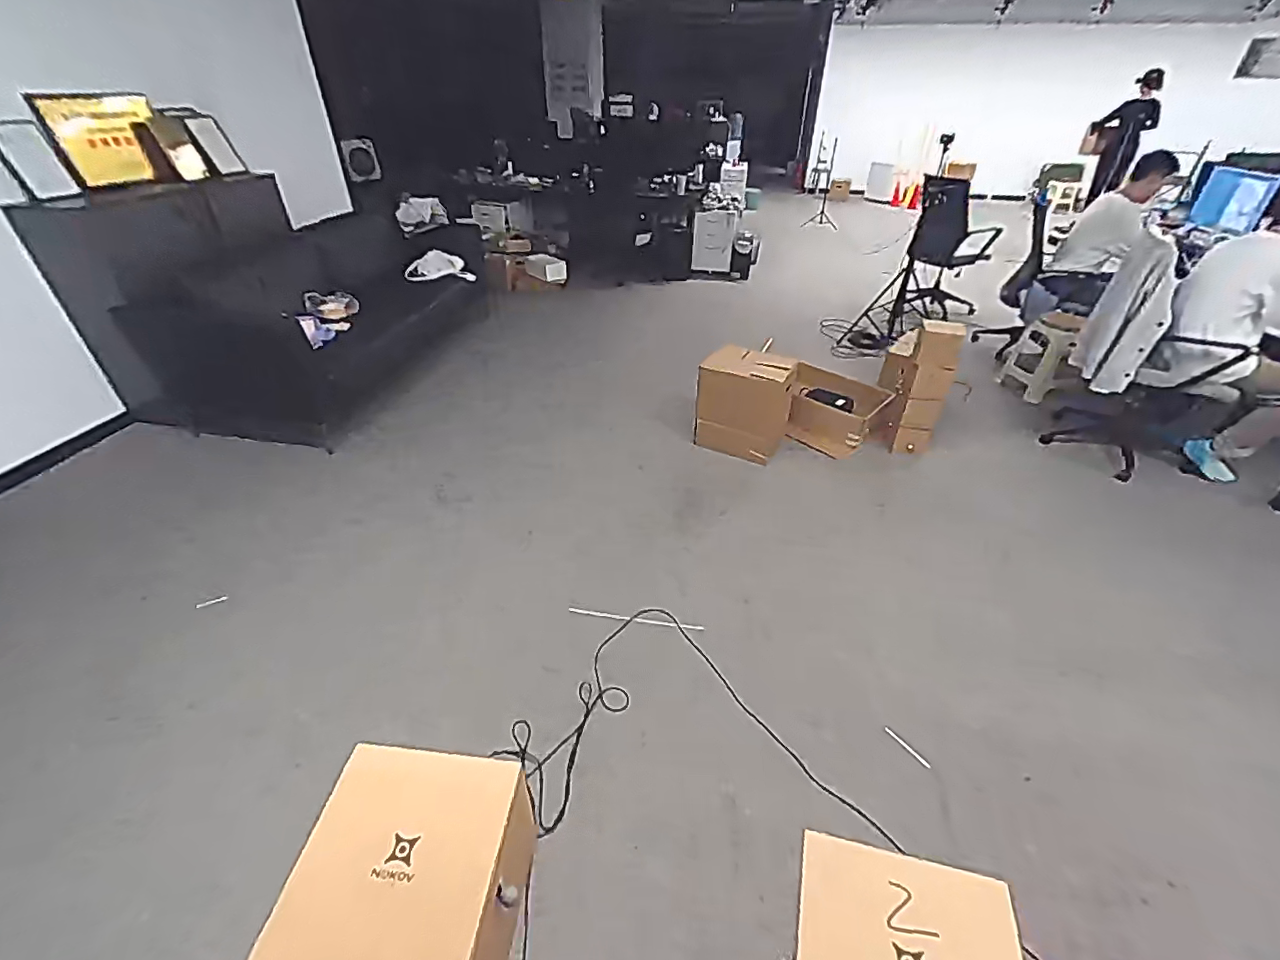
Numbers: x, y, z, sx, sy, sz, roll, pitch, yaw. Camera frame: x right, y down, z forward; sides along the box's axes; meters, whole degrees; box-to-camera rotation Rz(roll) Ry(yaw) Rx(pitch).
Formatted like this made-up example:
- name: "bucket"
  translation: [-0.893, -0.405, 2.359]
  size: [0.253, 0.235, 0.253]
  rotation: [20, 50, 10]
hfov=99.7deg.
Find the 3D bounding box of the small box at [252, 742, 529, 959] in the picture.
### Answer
- name: "small box"
  translation: [-0.208, 0.384, 0.515]
  size: [0.168, 0.176, 0.179]
  rotation: [5, 39, 3]
